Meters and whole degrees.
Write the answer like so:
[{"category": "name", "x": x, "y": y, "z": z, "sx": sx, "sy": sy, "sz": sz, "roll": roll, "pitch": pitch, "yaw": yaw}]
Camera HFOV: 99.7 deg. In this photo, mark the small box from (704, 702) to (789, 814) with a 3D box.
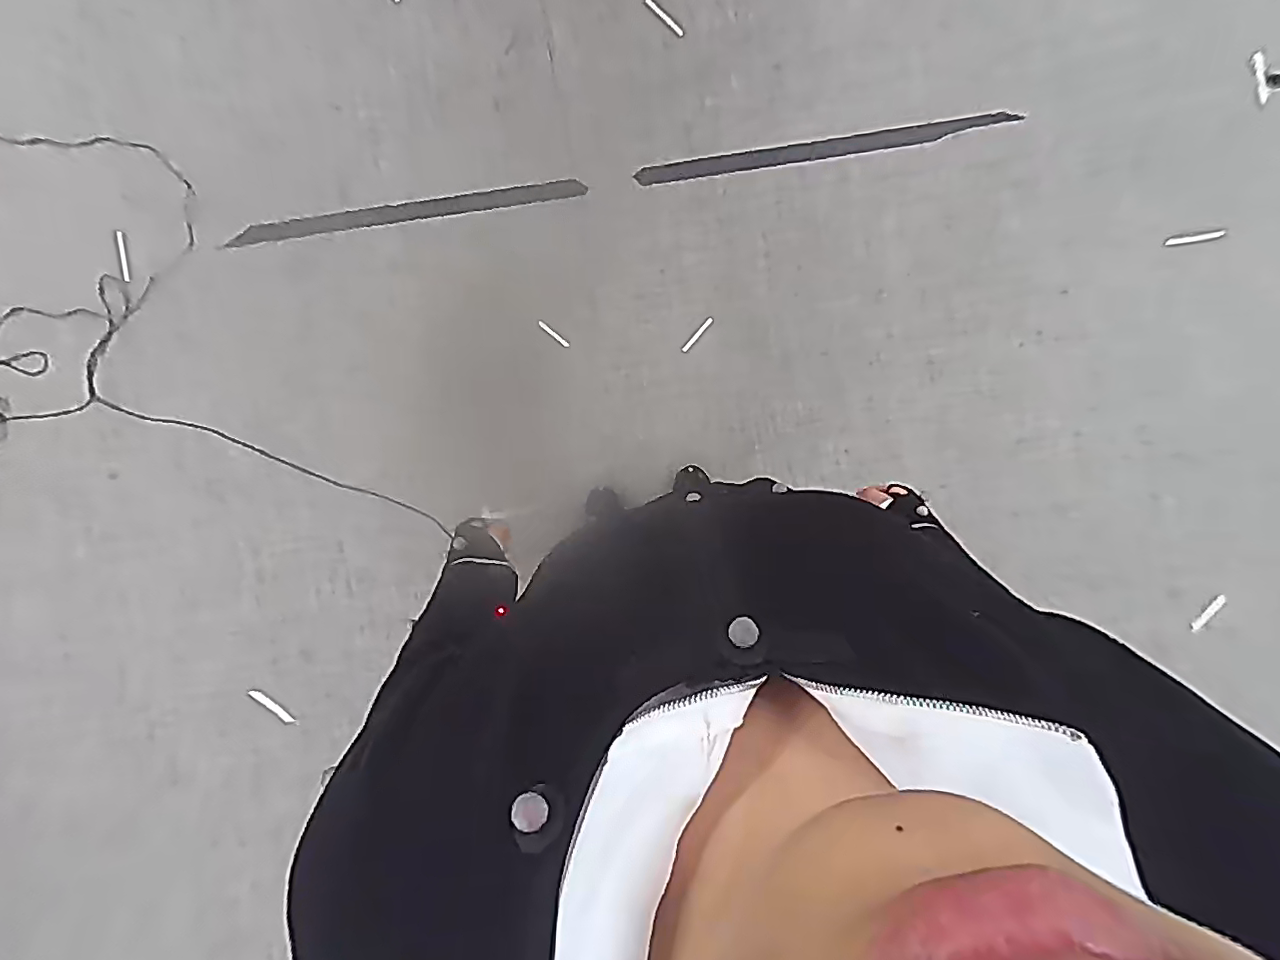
[{"category": "small box", "x": 0.254, "y": 0.674, "z": 1.326, "sx": 0.168, "sy": 0.176, "sz": 0.179, "roll": -10, "pitch": 91, "yaw": 2}]
